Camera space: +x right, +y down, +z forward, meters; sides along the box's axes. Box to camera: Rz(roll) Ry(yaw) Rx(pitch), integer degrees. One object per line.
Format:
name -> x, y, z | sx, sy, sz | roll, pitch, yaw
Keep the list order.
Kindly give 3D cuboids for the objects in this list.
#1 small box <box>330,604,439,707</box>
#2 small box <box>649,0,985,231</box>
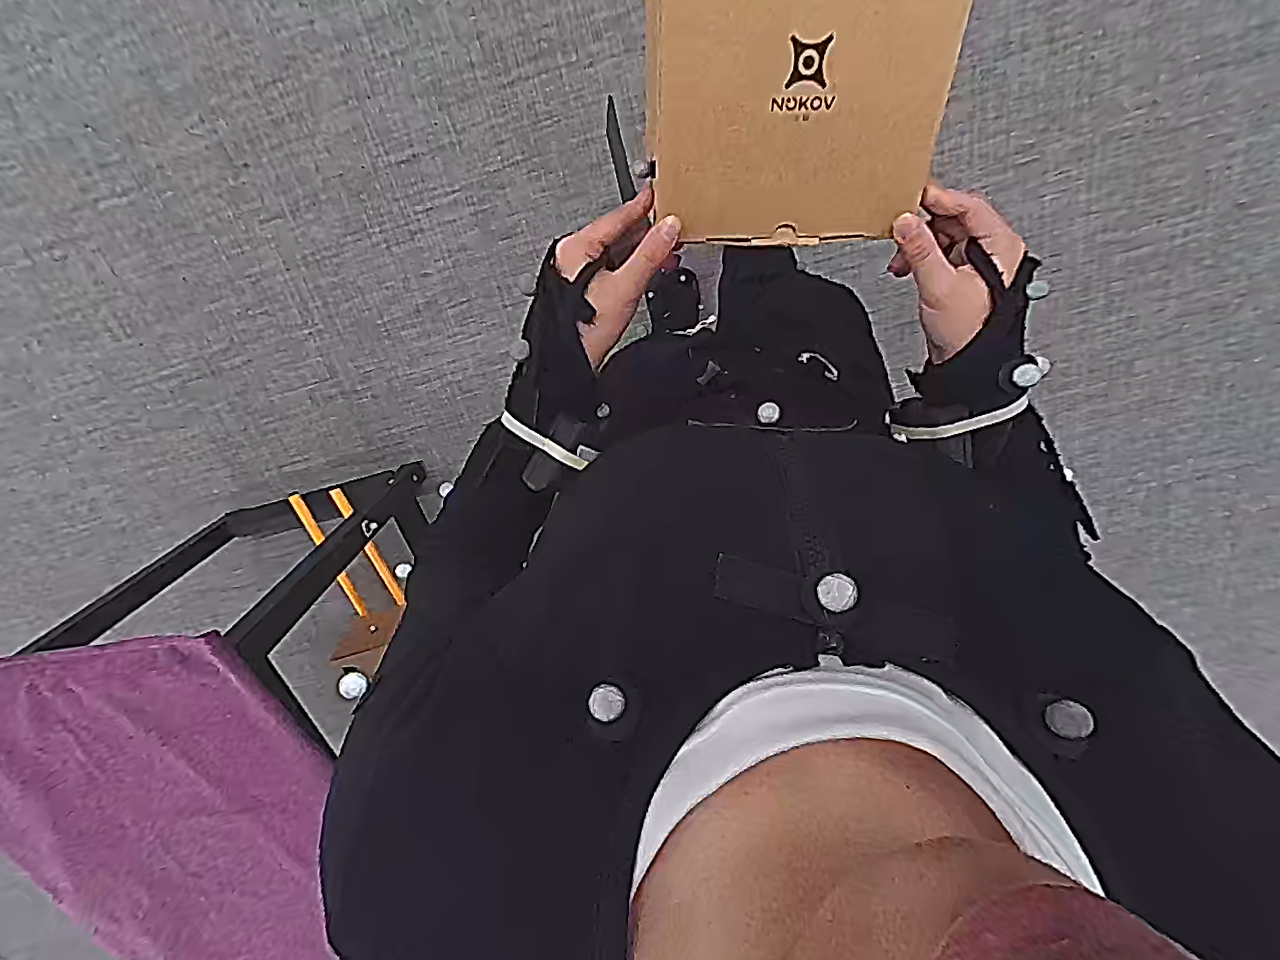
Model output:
small box -> -0.657, 0.453, 1.415 | 0.179, 0.176, 0.168 | -17, 114, 4
small box -> 0.092, -0.274, 0.350 | 0.168, 0.176, 0.179 | -2, 127, -1
